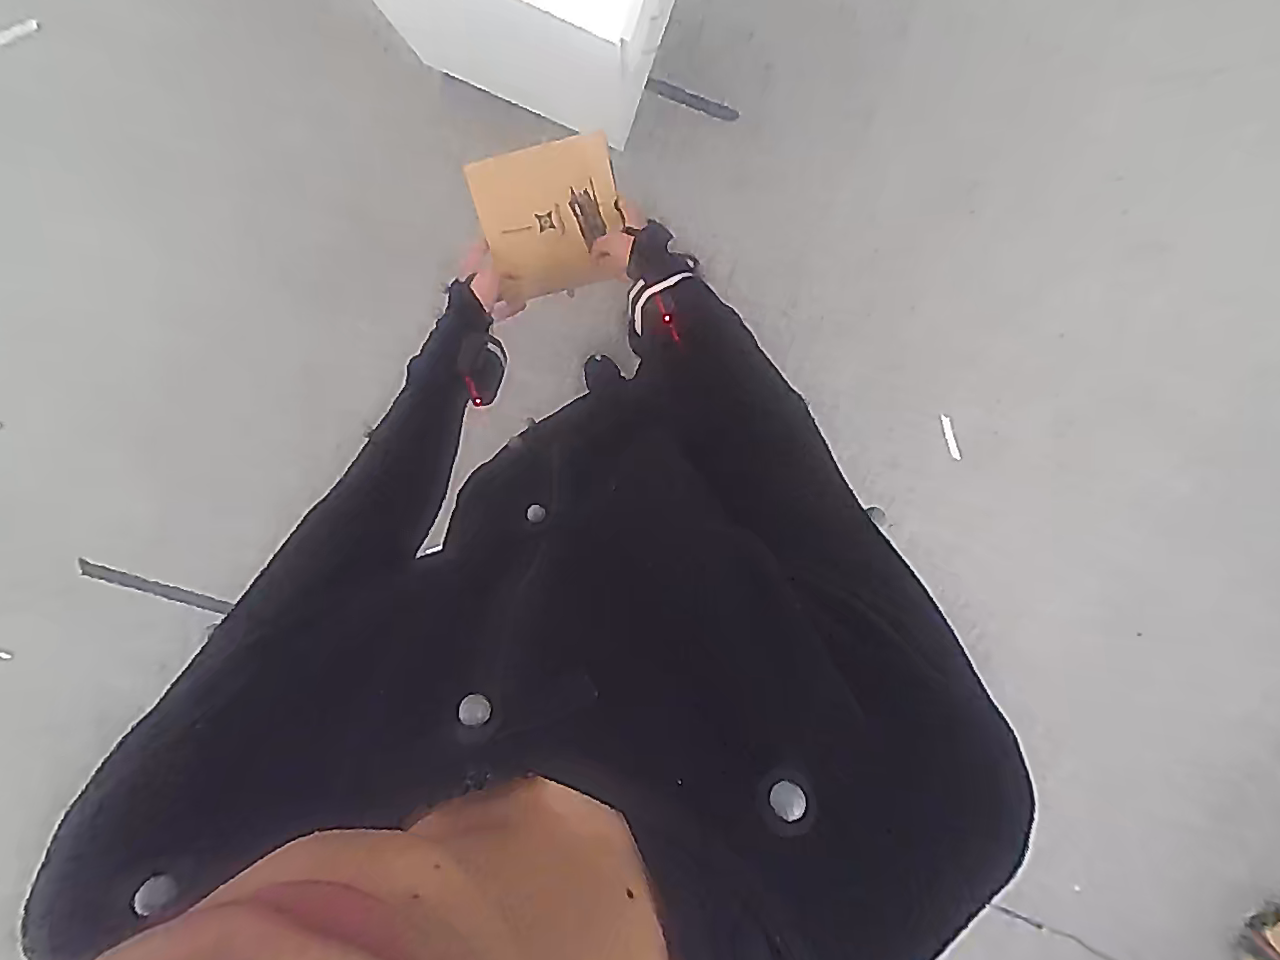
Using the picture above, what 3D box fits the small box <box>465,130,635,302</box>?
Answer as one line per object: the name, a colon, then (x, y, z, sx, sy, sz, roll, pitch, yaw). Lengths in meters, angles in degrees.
small box: (-0.112, -0.355, 0.740, 0.179, 0.176, 0.168, -13, 114, 4)
